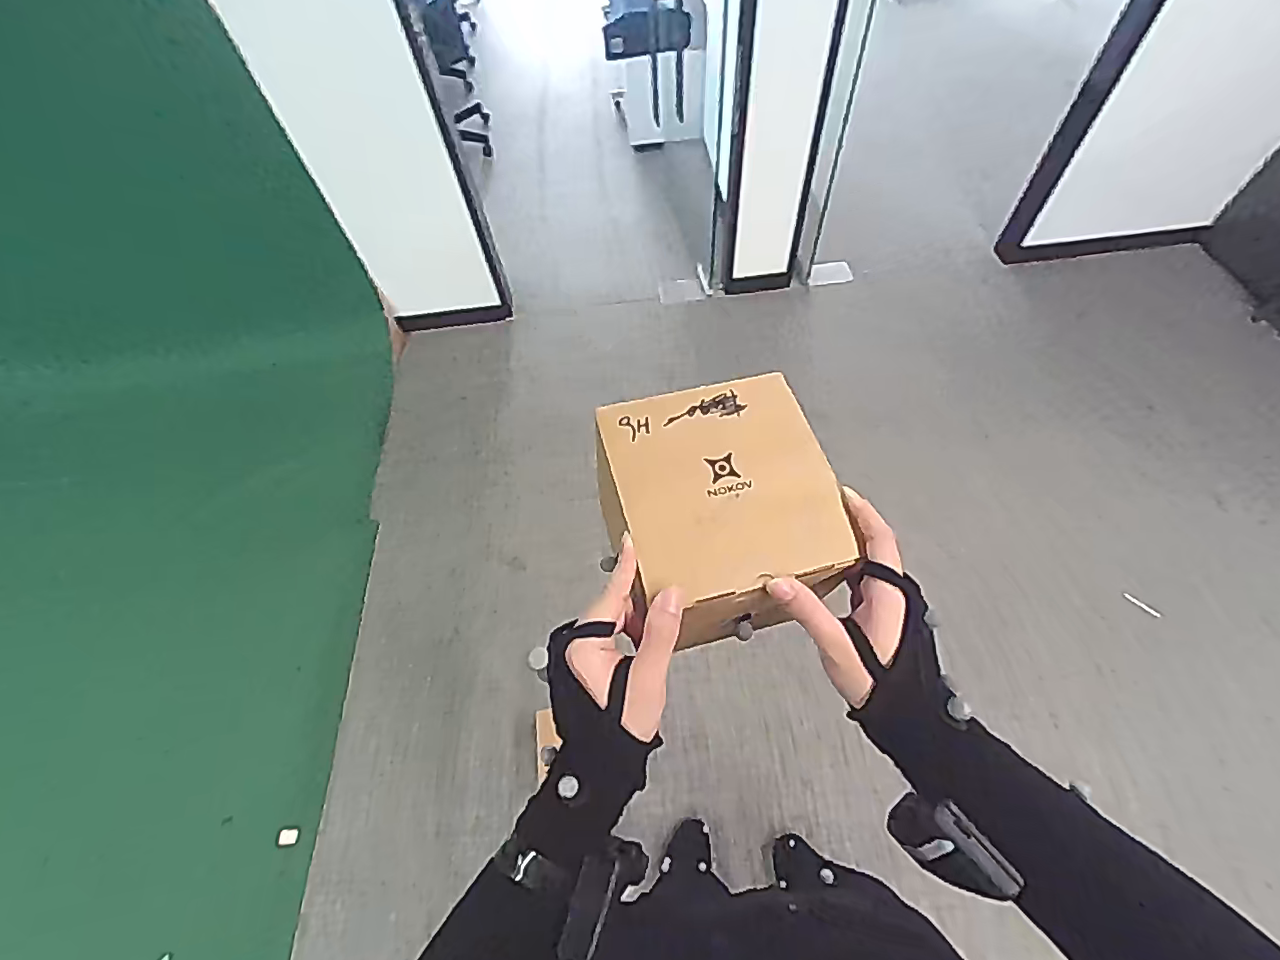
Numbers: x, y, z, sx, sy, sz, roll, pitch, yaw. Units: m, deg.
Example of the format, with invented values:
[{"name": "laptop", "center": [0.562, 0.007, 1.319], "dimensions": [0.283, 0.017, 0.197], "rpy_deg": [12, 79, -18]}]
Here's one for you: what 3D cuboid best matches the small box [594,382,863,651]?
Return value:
[{"name": "small box", "center": [0.059, 0.043, 0.482], "dimensions": [0.168, 0.176, 0.179], "rpy_deg": [-12, 65, -10]}]
